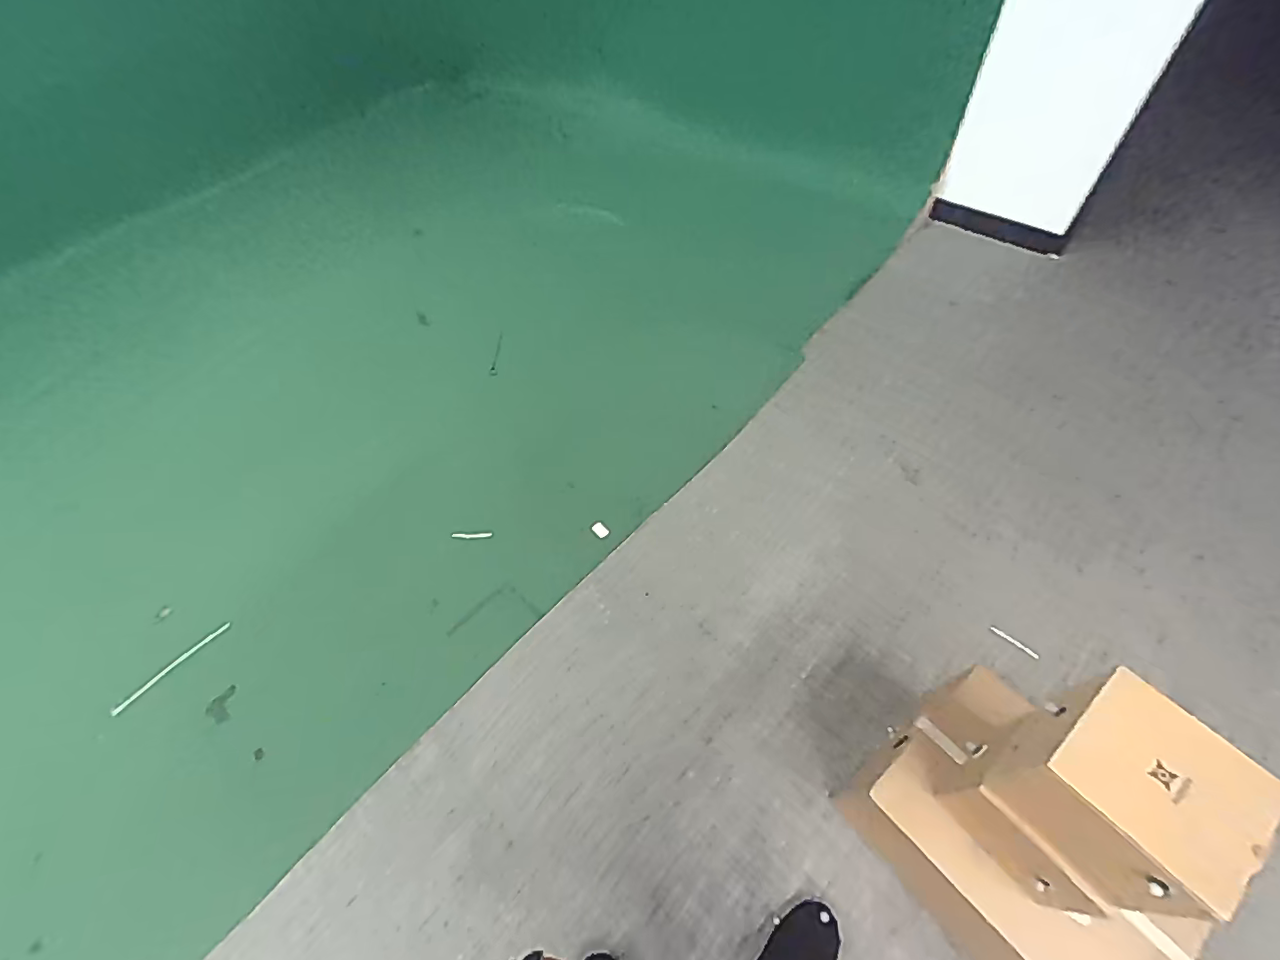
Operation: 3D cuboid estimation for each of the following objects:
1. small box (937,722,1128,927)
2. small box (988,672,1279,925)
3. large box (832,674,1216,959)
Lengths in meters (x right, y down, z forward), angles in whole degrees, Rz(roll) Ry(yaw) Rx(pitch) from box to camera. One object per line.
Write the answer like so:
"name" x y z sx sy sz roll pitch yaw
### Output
"small box" 0.564 0.468 0.756 0.168 0.176 0.179 -36 59 -18
"small box" 0.557 0.365 0.630 0.168 0.176 0.179 -36 60 -18
"large box" 0.617 0.624 0.939 0.320 0.320 0.408 -38 61 -17
